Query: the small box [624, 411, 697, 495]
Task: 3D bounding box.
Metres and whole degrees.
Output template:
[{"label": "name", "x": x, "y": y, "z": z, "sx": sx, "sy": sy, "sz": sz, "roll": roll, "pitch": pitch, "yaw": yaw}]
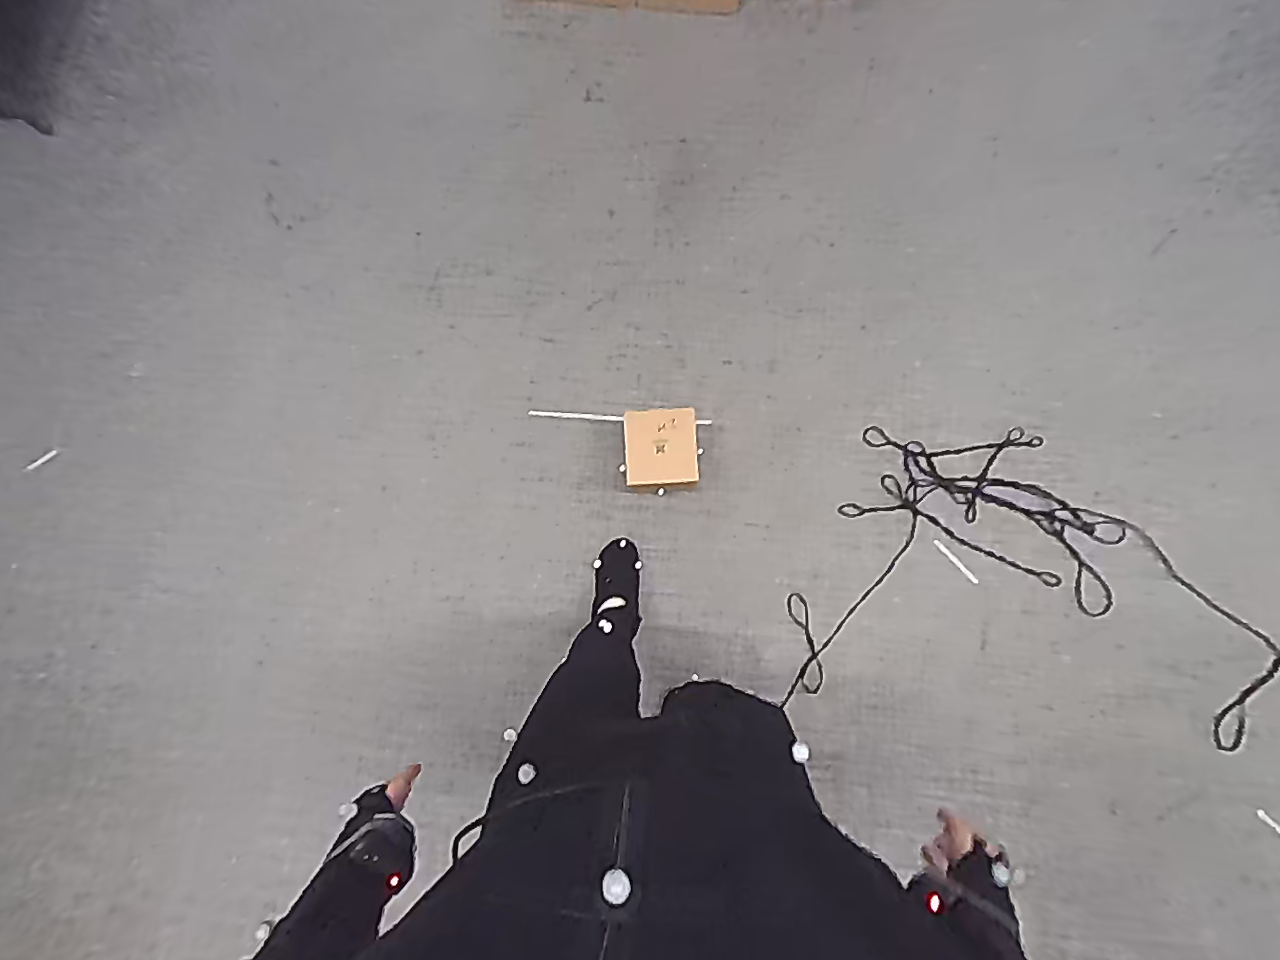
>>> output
[{"label": "small box", "x": 0.051, "y": -0.058, "z": 1.314, "sx": 0.168, "sy": 0.176, "sz": 0.179, "roll": -3, "pitch": 81, "yaw": 2}]
